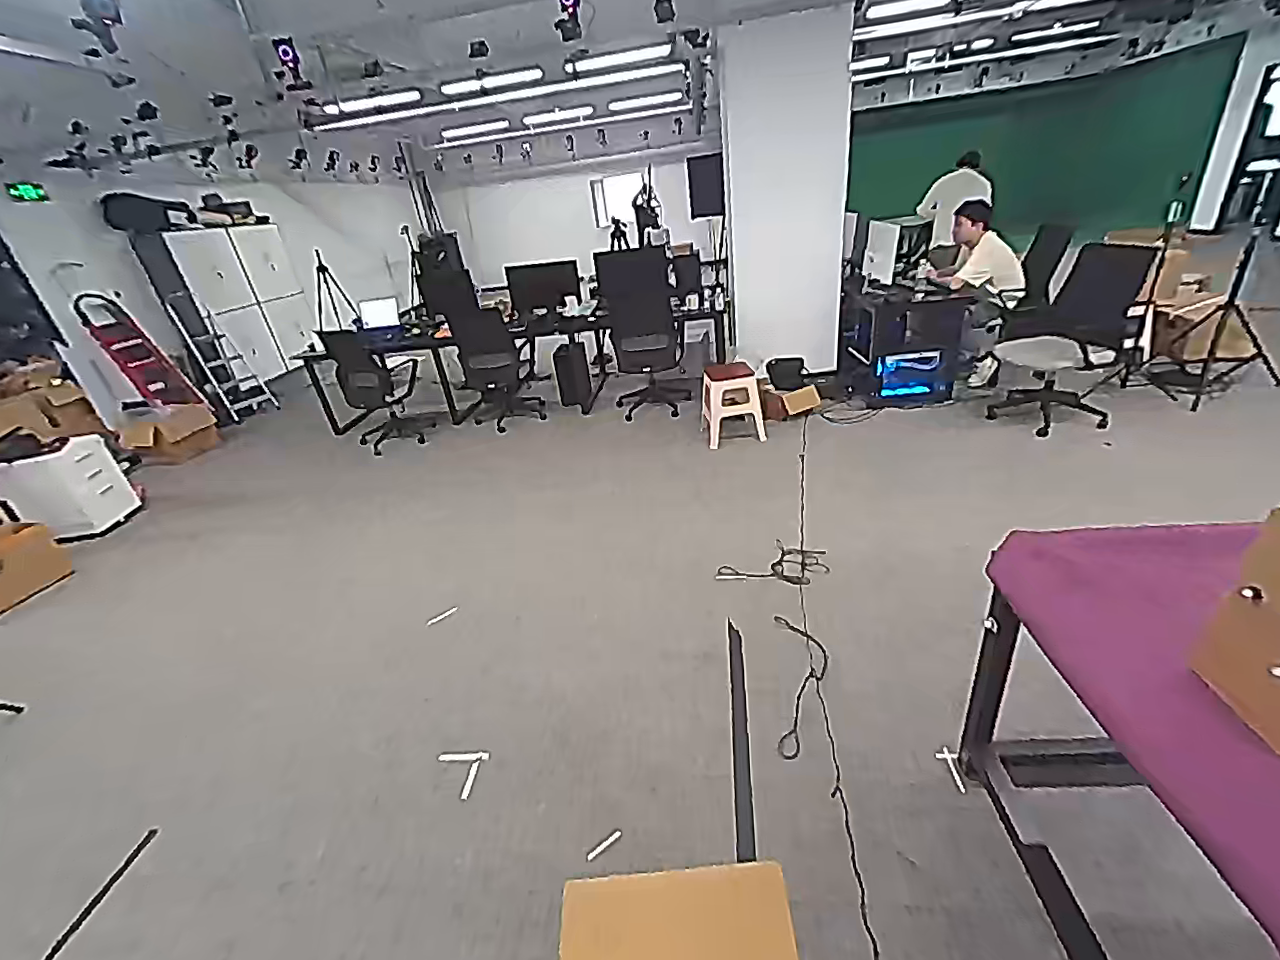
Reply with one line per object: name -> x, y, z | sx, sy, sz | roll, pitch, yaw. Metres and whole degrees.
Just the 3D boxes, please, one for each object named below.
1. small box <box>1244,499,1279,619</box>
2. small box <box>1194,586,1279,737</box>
small box -> 0.994, 0.132, 0.732 | 0.179, 0.176, 0.168 | -4, 28, 7
small box -> 1.008, 0.276, 0.809 | 0.168, 0.176, 0.179 | -3, 28, 9
